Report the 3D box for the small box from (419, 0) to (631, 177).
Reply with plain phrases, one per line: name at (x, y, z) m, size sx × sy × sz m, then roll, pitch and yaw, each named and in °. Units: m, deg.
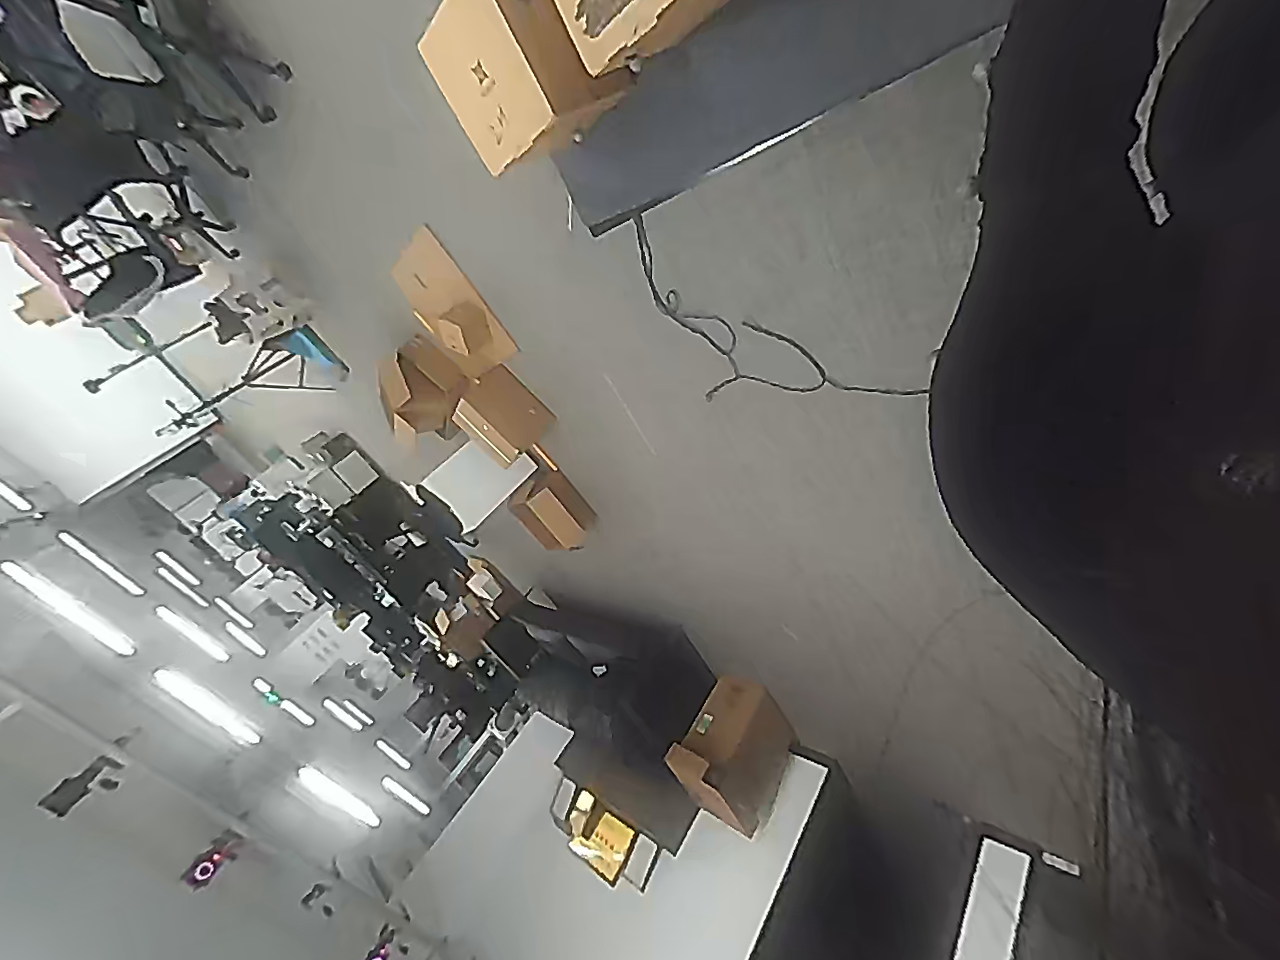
small box at (-0.147, -0.549, 0.720) m, size 0.168 × 0.176 × 0.179 m, roll -3°, pitch 127°, yaw 48°
